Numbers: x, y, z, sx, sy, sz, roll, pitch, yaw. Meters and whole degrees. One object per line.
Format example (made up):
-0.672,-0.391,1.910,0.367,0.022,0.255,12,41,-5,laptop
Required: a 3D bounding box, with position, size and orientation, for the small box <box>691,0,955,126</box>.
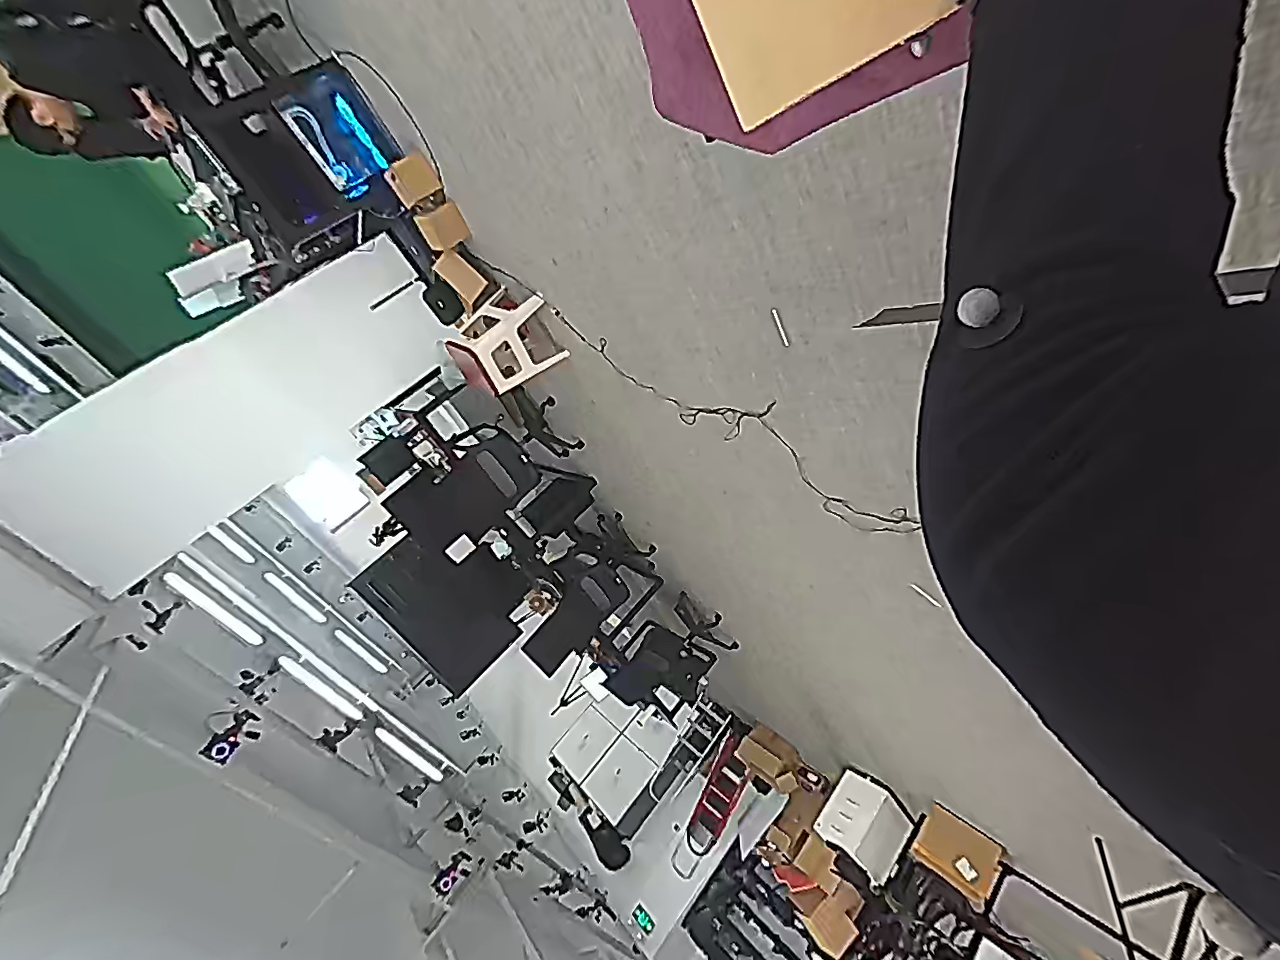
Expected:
0.149,-0.402,0.385,0.179,0.176,0.168,7,136,55,small box
